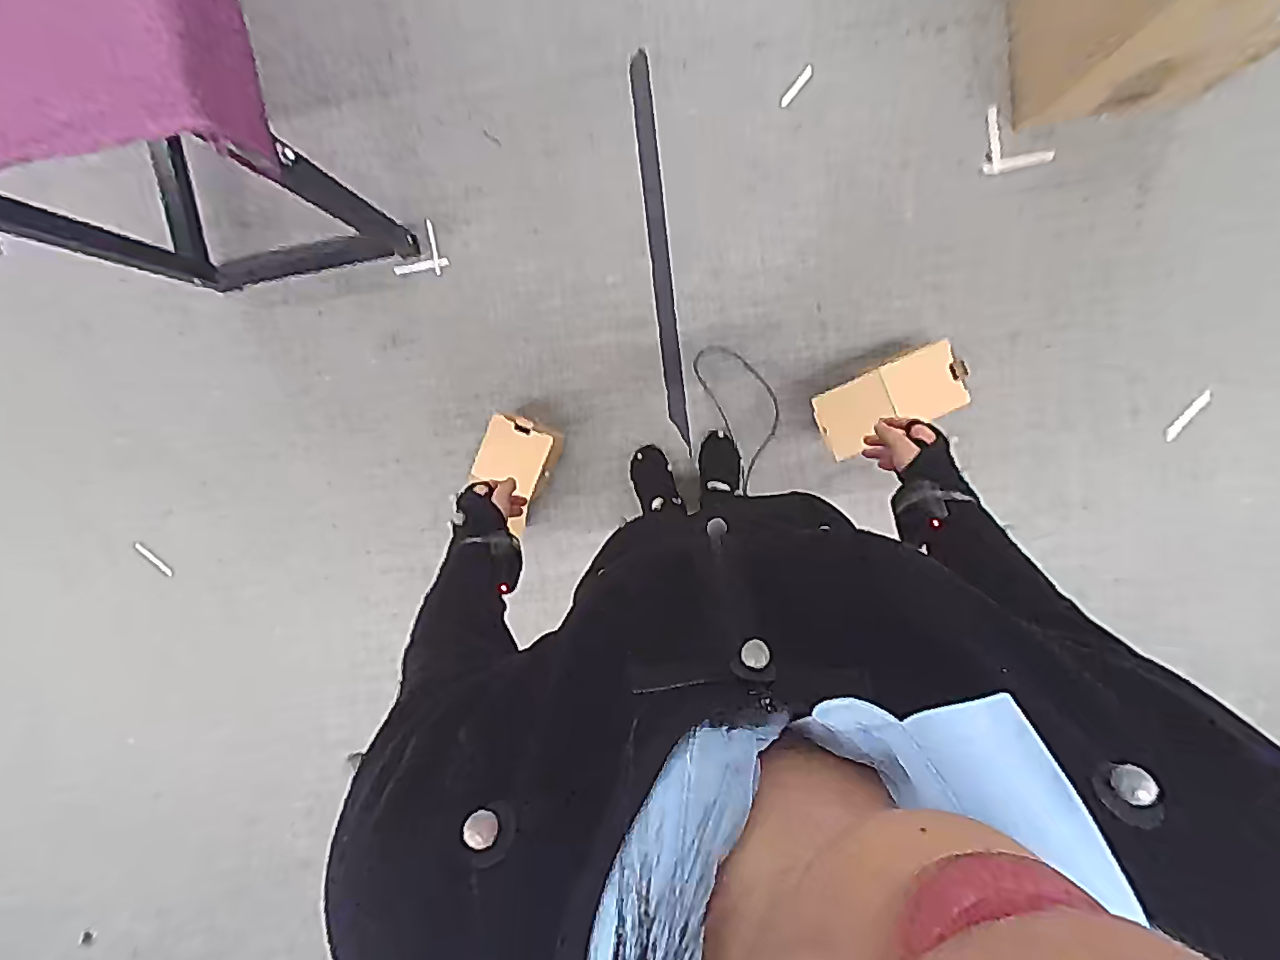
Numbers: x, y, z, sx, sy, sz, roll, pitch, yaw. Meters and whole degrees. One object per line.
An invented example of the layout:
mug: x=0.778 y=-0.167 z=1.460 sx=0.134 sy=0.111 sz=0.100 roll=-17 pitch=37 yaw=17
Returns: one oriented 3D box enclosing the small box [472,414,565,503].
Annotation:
small box: x=-0.311 y=-0.061 z=1.424 sx=0.168 sy=0.176 sz=0.179 roll=23 pitch=97 yaw=0
